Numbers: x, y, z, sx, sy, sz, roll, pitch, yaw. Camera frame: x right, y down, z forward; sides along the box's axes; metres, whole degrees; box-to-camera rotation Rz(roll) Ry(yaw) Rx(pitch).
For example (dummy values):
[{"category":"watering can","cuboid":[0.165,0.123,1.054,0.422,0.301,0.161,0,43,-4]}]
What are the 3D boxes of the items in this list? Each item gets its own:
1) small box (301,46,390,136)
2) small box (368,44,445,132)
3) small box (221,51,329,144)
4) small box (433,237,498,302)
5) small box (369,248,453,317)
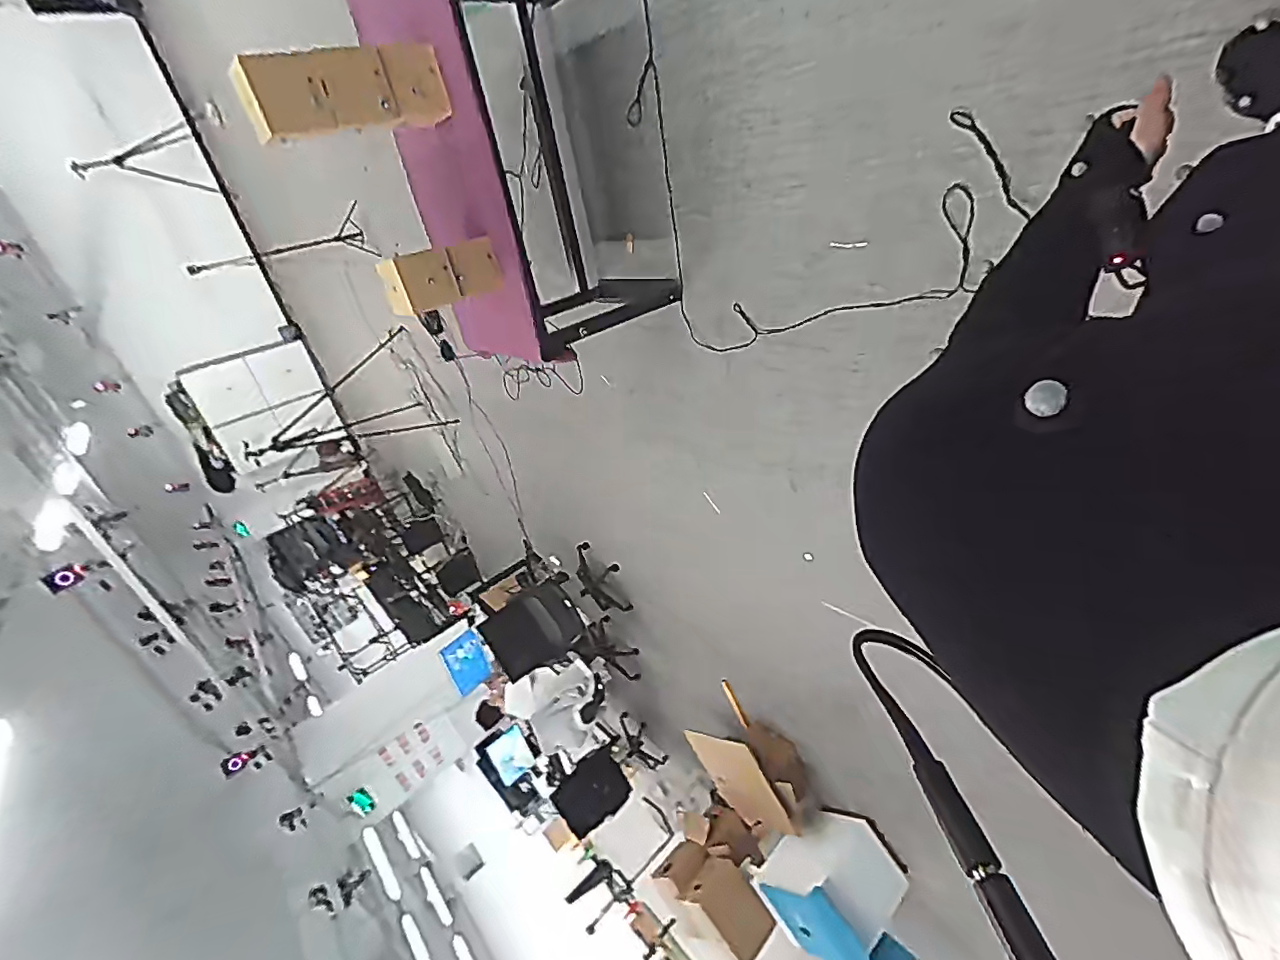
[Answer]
[{"category":"small box","cuboid":[-0.798,-1.042,1.451,0.179,0.176,0.168,25,135,46]},{"category":"small box","cuboid":[-0.681,-1.117,1.541,0.179,0.176,0.168,22,134,47]},{"category":"small box","cuboid":[-0.922,-0.969,1.374,0.179,0.176,0.168,24,136,44]},{"category":"small box","cuboid":[-0.597,-0.691,1.785,0.179,0.176,0.168,16,130,48]},{"category":"small box","cuboid":[-0.706,-0.614,1.686,0.179,0.176,0.168,17,129,47]}]
